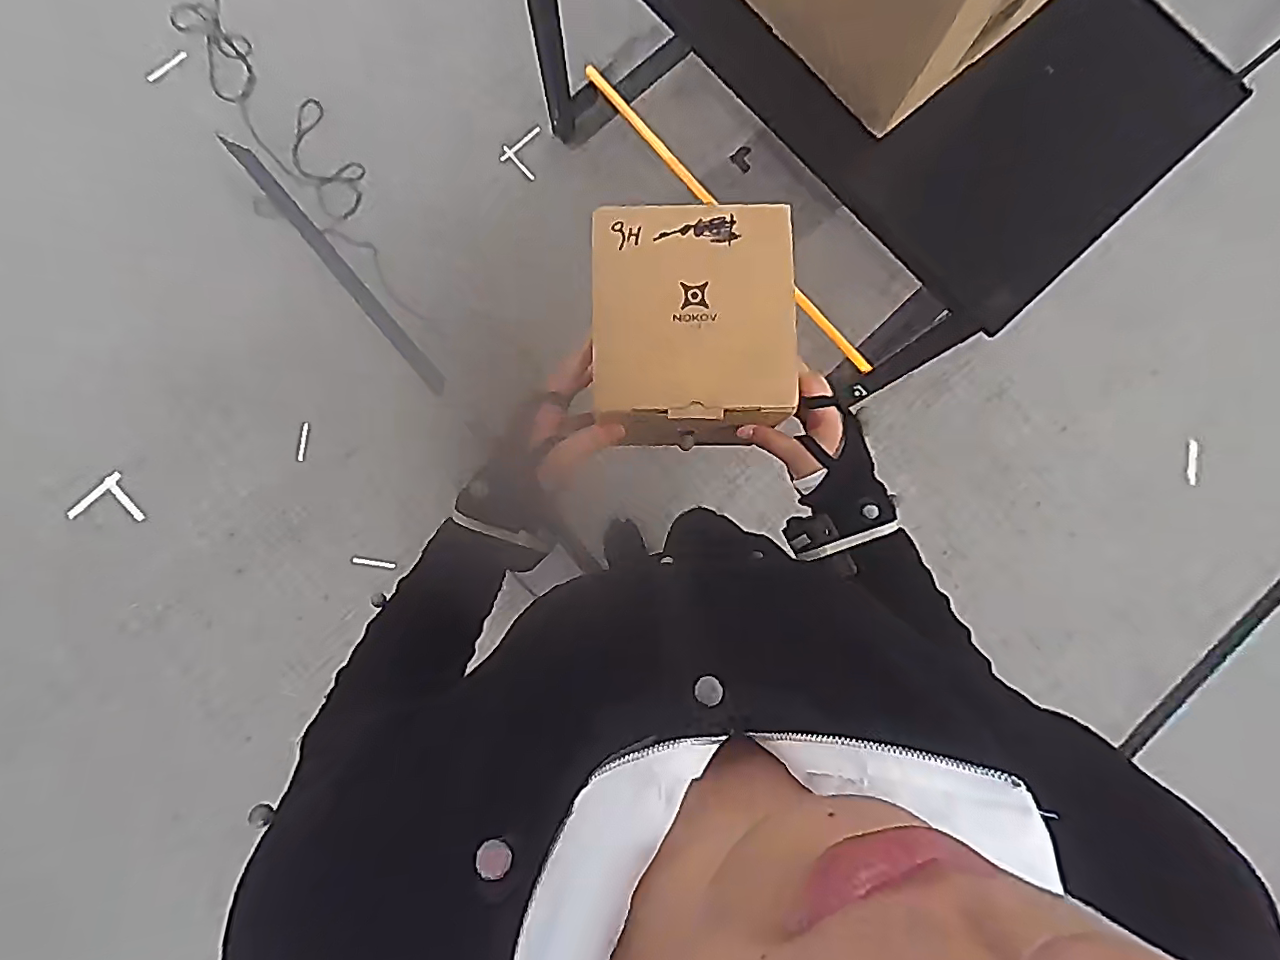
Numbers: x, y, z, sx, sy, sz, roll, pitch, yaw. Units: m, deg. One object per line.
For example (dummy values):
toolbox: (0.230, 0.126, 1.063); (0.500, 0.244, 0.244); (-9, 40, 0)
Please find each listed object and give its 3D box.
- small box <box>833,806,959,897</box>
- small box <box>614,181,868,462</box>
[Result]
small box: (0.603, 0.935, 1.297); (0.168, 0.176, 0.179); (-43, 86, -5)
small box: (0.066, -0.106, 0.435); (0.168, 0.176, 0.179); (-2, 86, 0)
